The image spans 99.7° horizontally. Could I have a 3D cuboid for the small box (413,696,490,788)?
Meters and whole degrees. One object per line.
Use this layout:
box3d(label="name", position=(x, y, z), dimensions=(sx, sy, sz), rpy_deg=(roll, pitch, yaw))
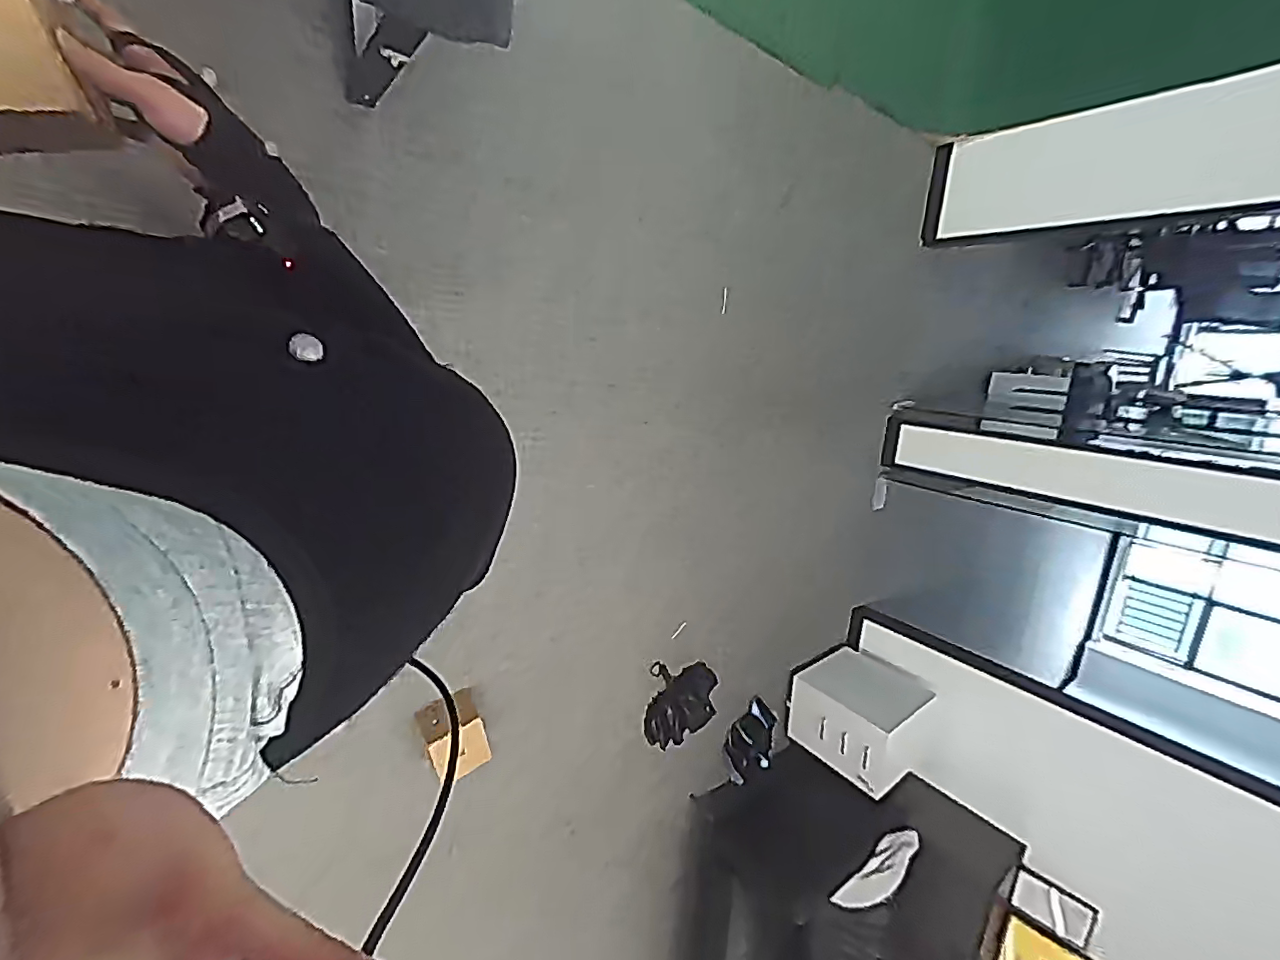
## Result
box3d(label="small box", position=(-0.603, 0.820, 1.721), dimensions=(0.168, 0.176, 0.179), rpy_deg=(-21, 117, -31))
